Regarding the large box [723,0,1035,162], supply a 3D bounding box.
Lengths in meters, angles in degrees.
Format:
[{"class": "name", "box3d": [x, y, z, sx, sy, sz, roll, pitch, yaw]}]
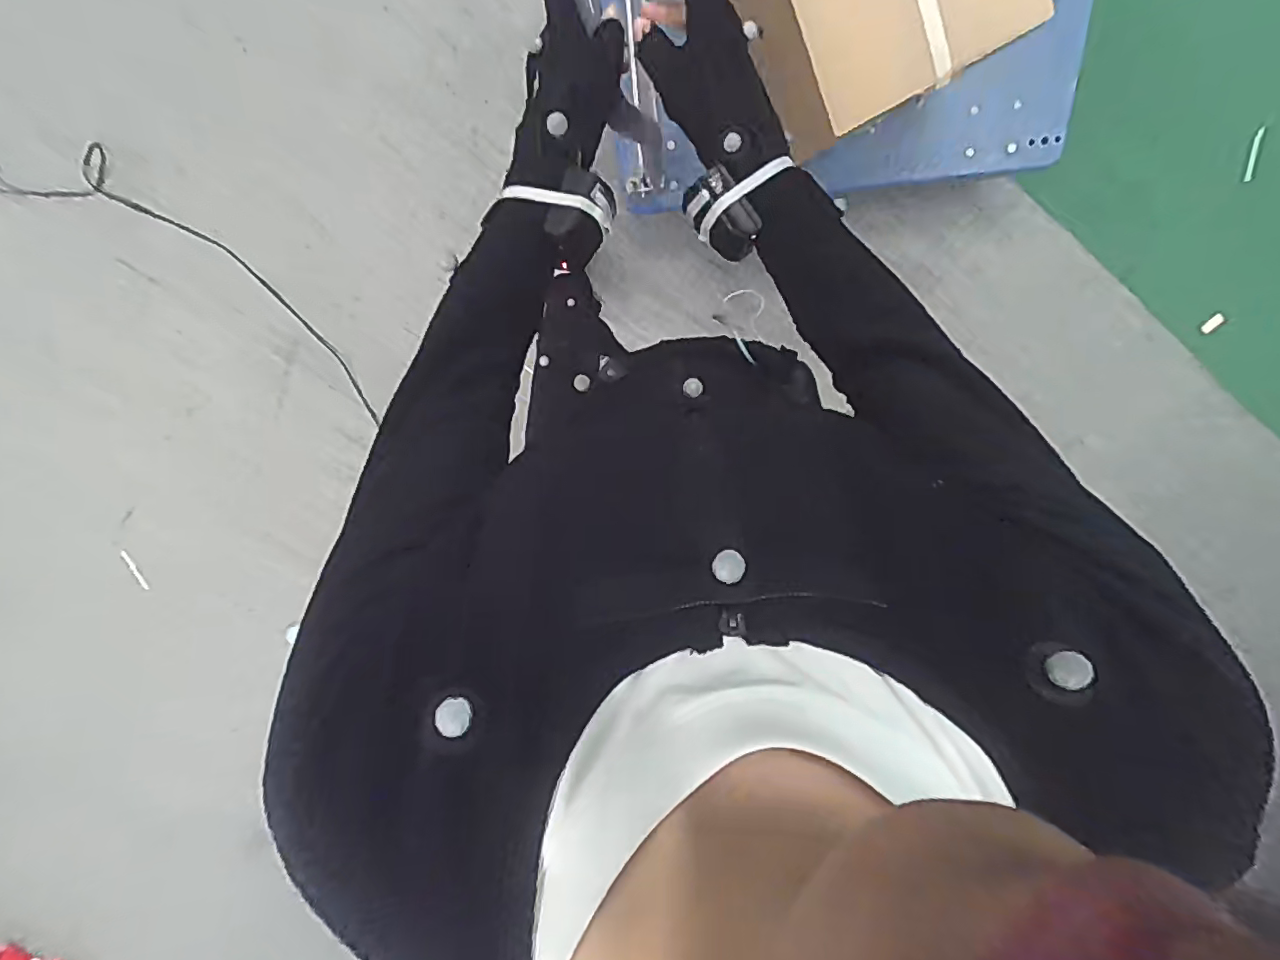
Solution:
[{"class": "large box", "box3d": [0.321, -0.796, 0.842, 0.320, 0.320, 0.408, -25, 109, 11]}]
